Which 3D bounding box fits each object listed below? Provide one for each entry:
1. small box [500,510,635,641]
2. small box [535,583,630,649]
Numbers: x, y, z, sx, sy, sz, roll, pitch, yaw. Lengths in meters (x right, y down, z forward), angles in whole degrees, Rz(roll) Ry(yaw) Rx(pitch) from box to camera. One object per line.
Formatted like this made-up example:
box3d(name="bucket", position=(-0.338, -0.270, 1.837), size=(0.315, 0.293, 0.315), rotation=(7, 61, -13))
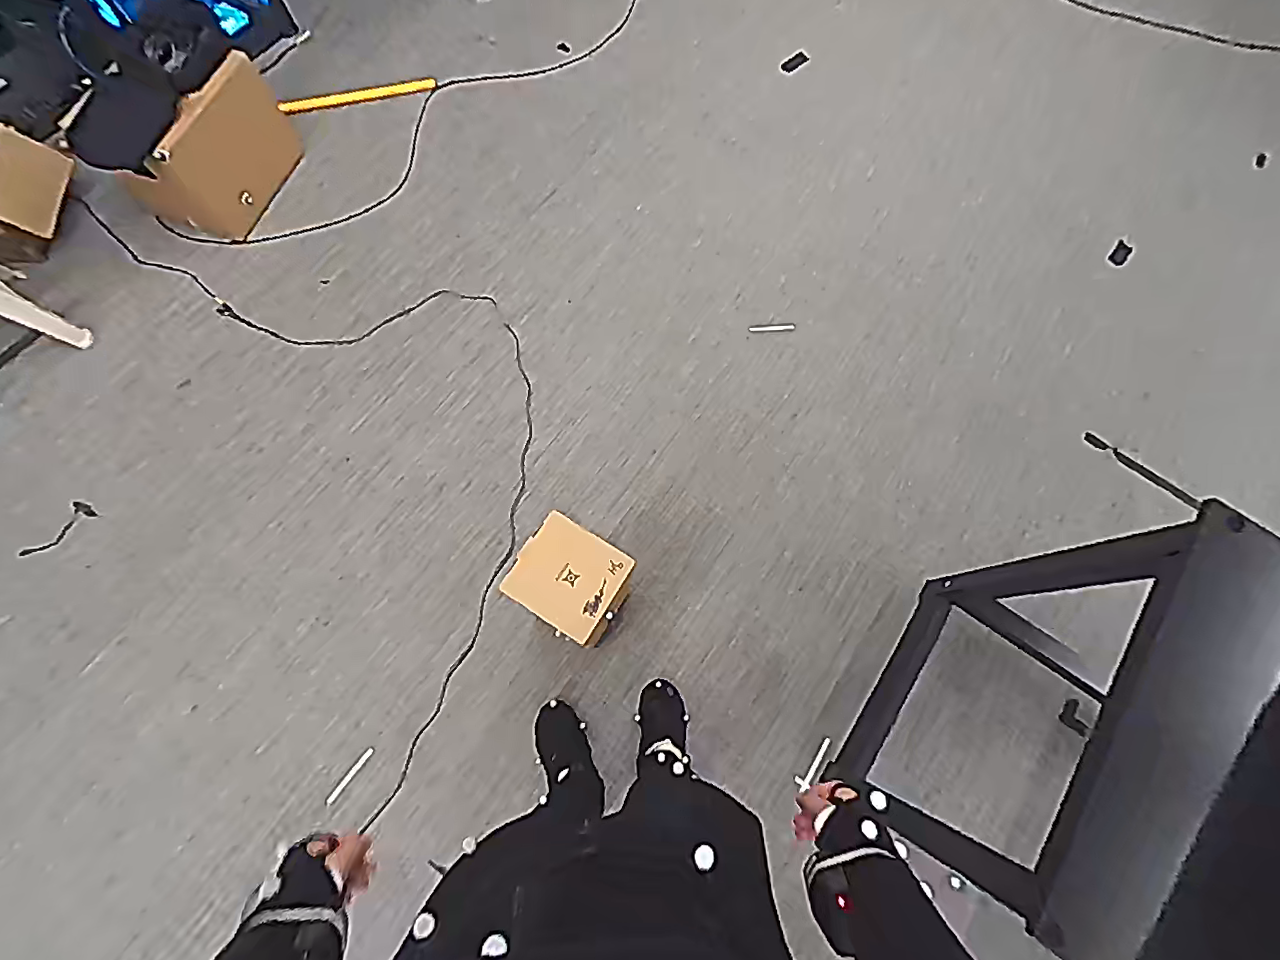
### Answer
box3d(name="small box", position=(-0.126, 0.185, 0.994), size=(0.179, 0.176, 0.168), rotation=(31, 74, 8))
box3d(name="small box", position=(-0.140, 0.287, 1.304), size=(0.168, 0.176, 0.179), rotation=(31, 75, 8))
